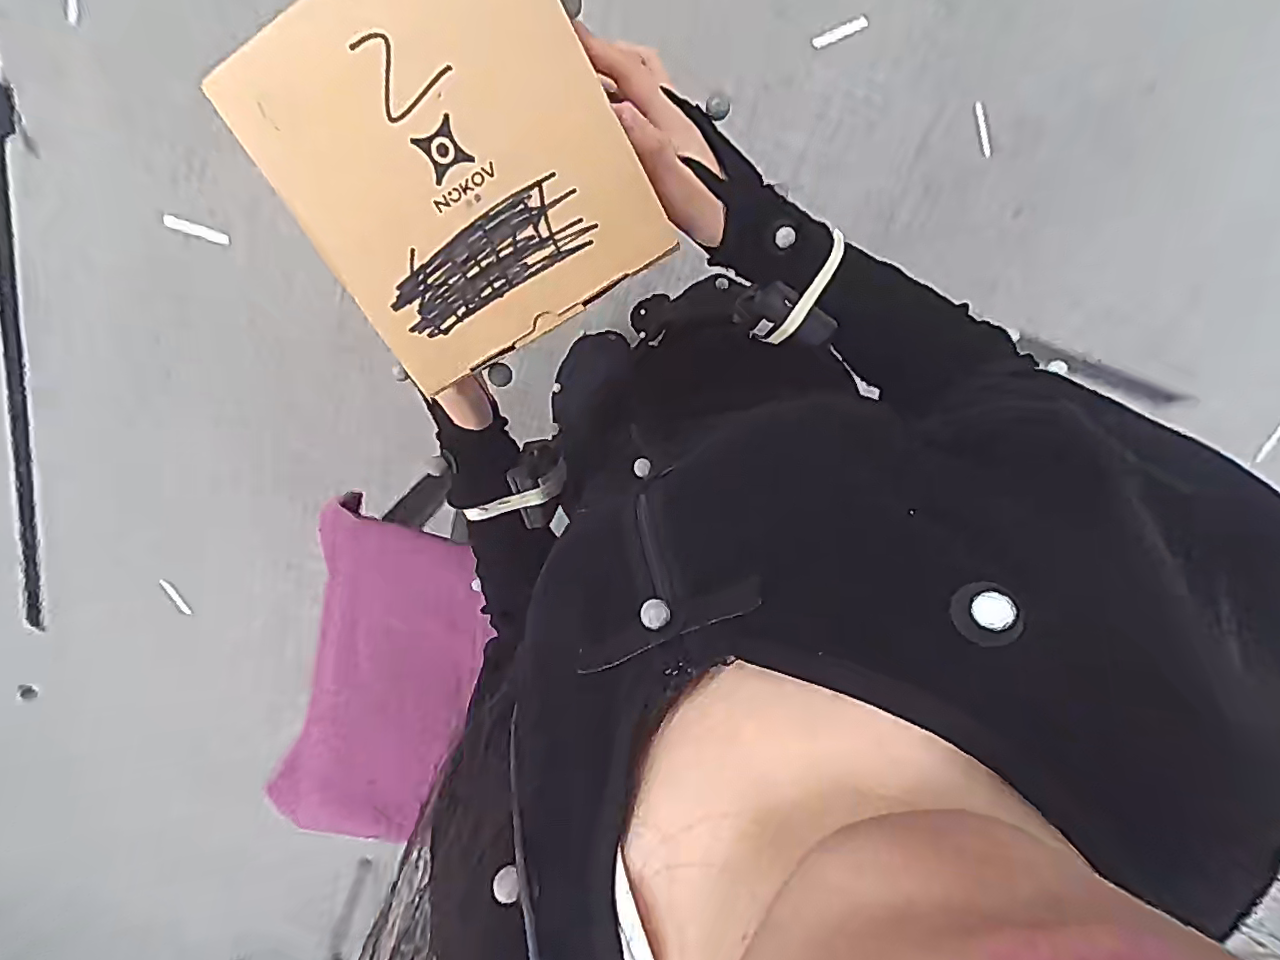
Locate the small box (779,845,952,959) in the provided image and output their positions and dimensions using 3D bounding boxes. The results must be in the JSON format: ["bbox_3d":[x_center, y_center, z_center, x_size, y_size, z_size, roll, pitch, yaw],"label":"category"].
[{"bbox_3d":[0.306,0.652,0.742,0.168,0.176,0.179,17,110,-7],"label":"small box"}]
